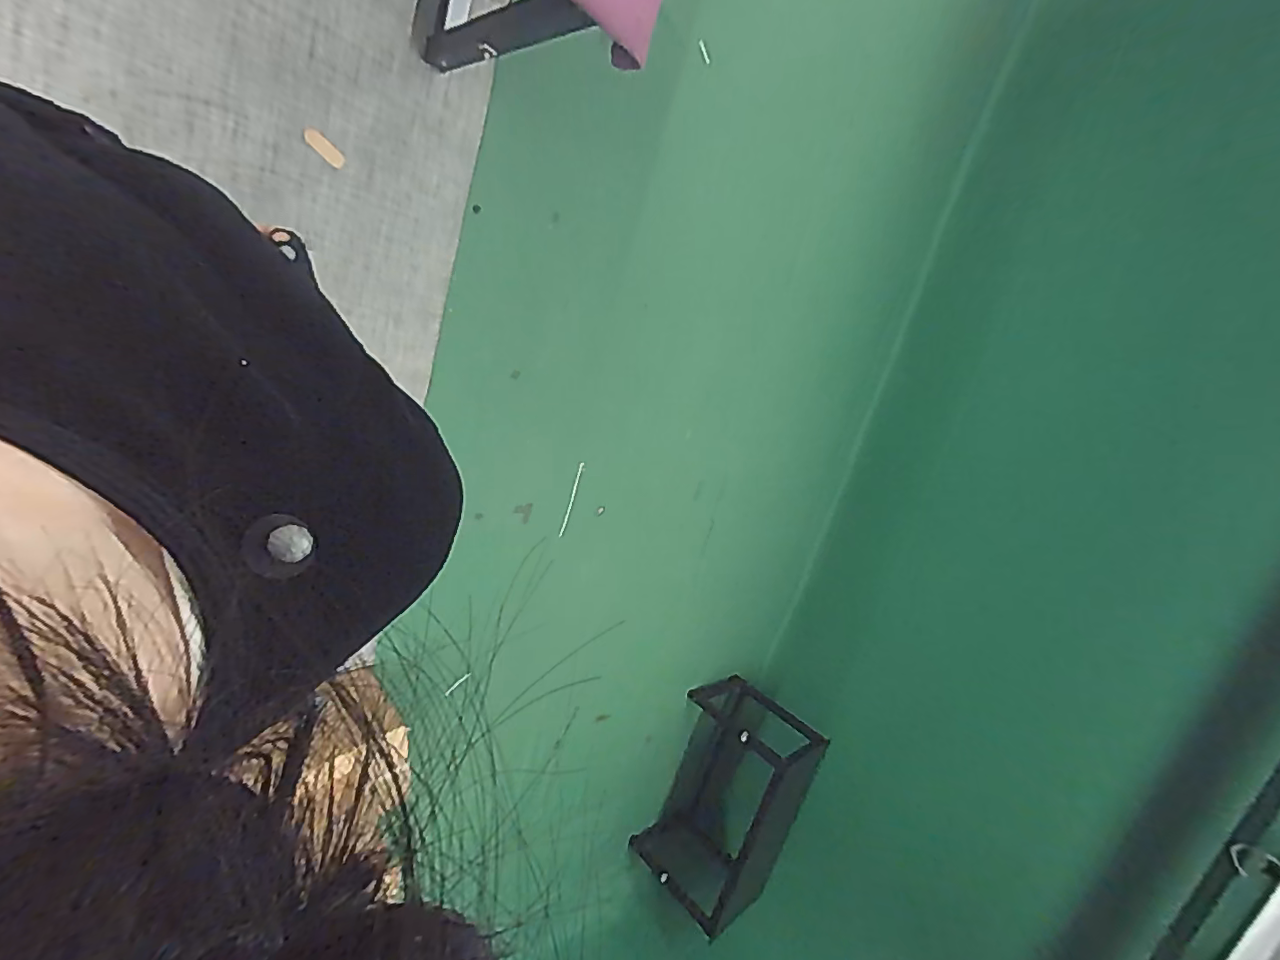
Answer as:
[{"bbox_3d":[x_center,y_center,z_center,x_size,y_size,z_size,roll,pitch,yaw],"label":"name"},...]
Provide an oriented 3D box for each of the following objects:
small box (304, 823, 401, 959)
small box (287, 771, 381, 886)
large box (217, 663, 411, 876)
[{"bbox_3d":[-0.694,0.971,1.301,0.168,0.176,0.179,-8,115,-44],"label":"small box"},{"bbox_3d":[-0.797,0.909,1.413,0.179,0.176,0.168,-10,116,-43],"label":"small box"},{"bbox_3d":[-0.943,0.816,1.589,0.408,0.320,0.320,-15,122,-42],"label":"large box"}]
